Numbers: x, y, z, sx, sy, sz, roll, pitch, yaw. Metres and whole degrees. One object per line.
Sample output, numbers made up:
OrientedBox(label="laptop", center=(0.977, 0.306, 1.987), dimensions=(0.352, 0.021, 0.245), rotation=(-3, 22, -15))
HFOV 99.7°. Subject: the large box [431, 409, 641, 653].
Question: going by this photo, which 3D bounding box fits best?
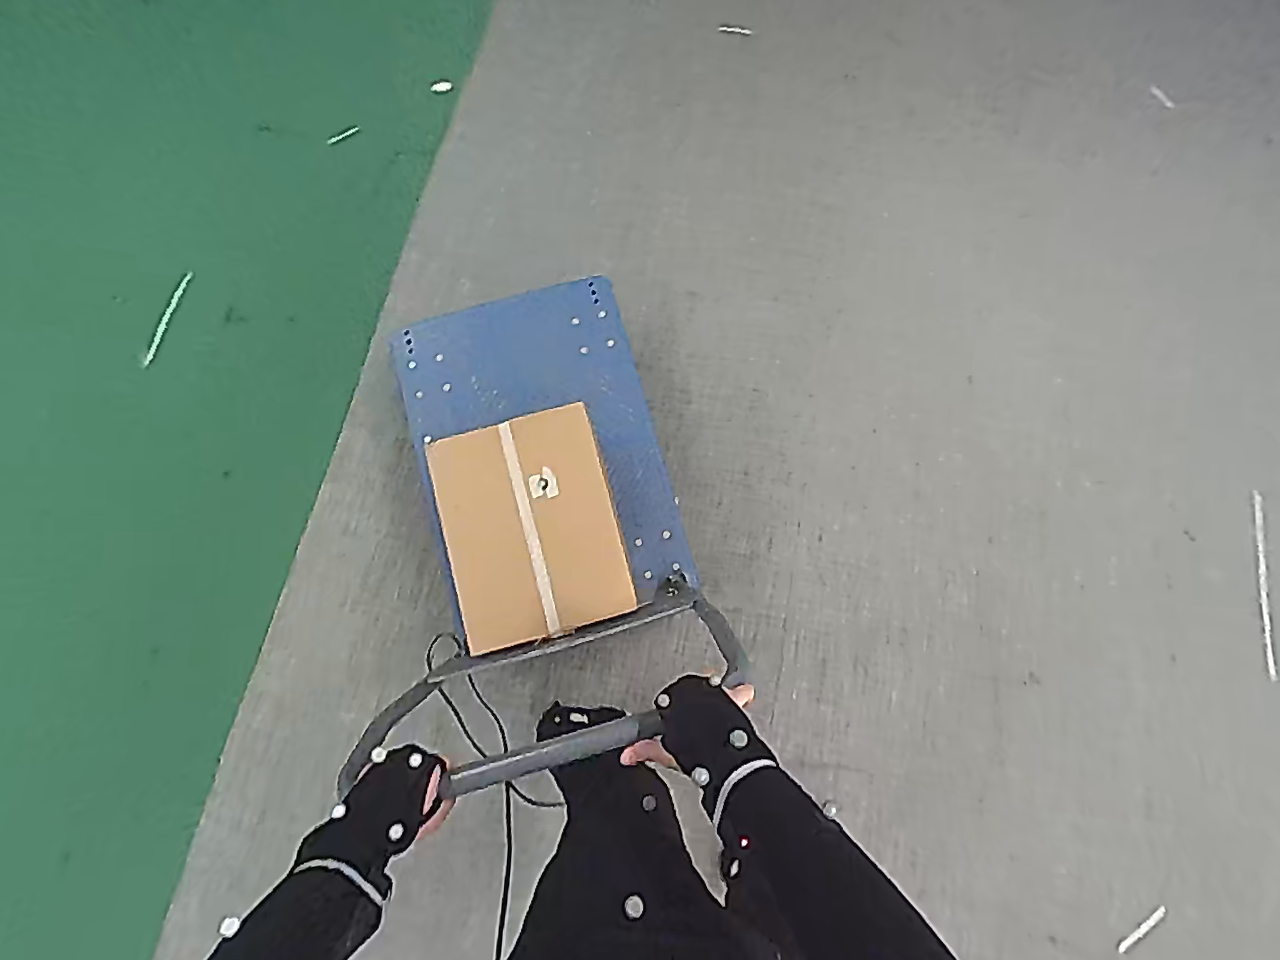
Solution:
OrientedBox(label="large box", center=(-0.200, 0.112, 1.166), dimensions=(0.320, 0.320, 0.408), rotation=(-16, 81, -3))
